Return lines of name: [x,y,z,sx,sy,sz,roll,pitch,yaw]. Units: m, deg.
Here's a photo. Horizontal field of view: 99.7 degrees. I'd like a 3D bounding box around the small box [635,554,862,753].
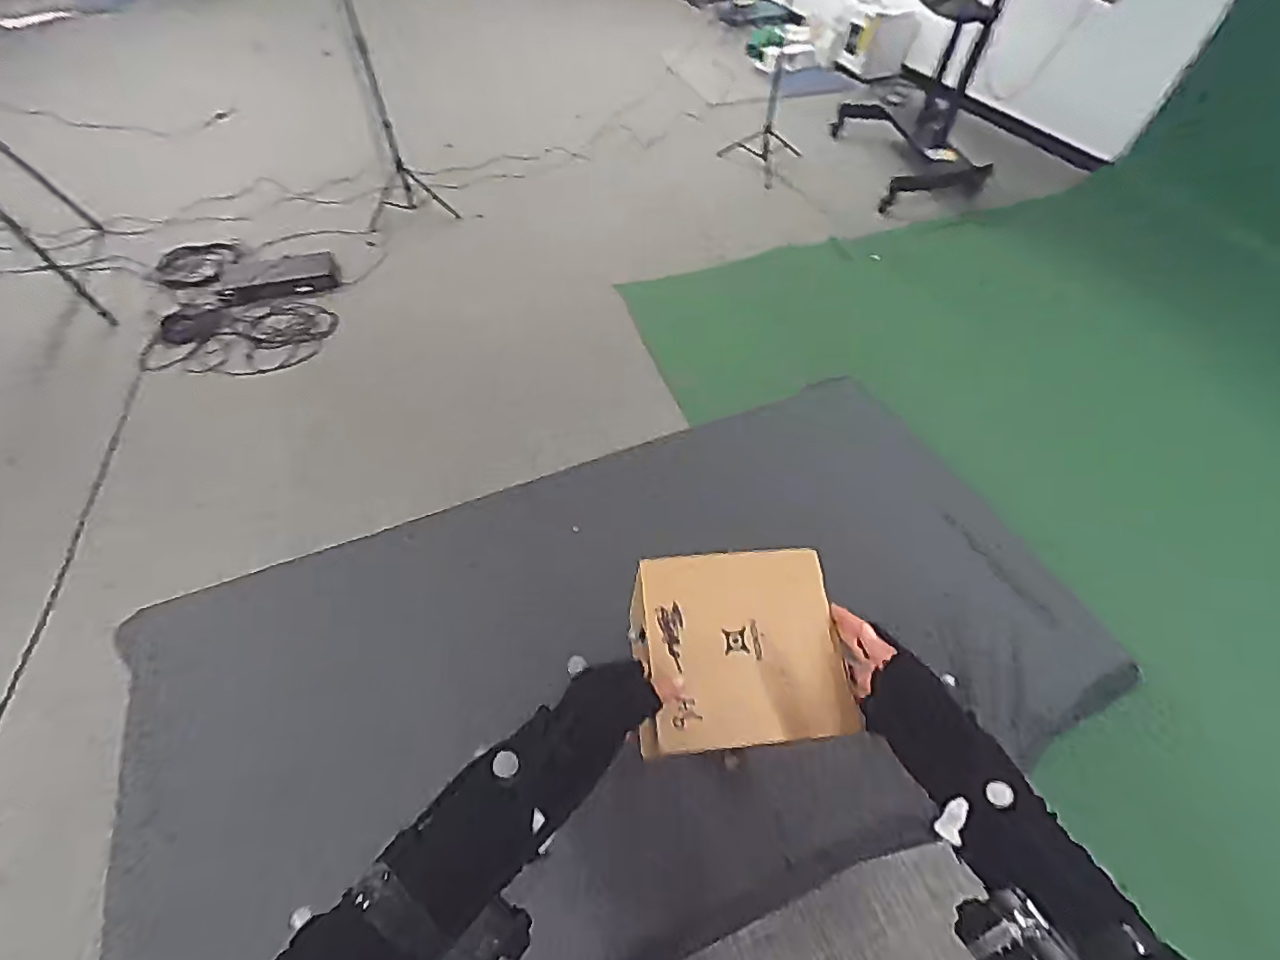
small box: [0.091,0.181,0.552,0.179,0.176,0.168,-1,62,-5]
